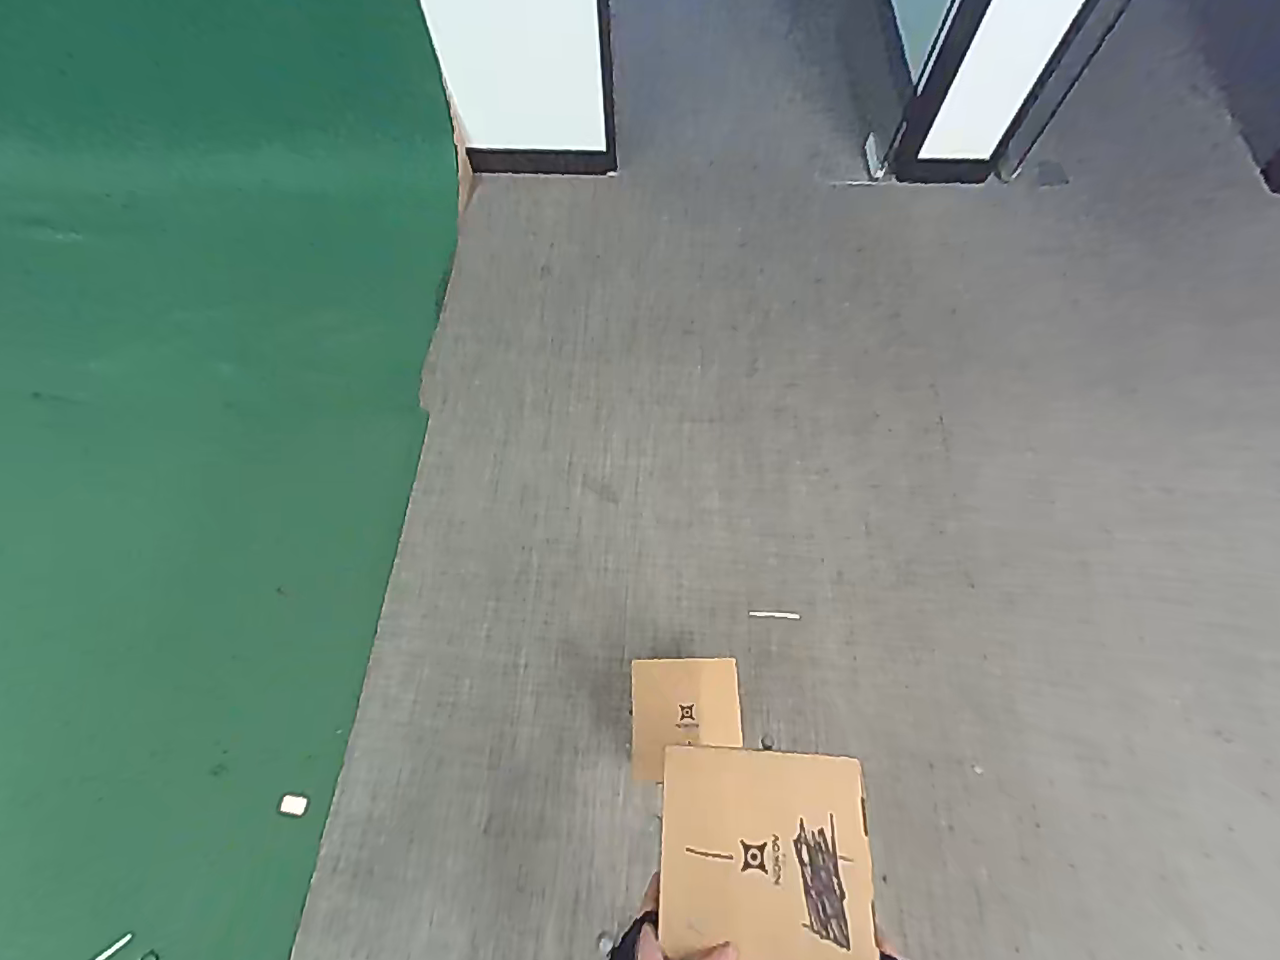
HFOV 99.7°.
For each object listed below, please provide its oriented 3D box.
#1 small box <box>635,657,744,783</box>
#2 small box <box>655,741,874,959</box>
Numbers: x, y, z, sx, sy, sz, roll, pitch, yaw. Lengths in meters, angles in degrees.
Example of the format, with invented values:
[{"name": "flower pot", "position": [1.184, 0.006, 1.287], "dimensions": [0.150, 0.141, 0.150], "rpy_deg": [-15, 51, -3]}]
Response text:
[{"name": "small box", "position": [0.075, 0.394, 0.894], "dimensions": [0.168, 0.176, 0.179], "rpy_deg": [-2, 67, 1]}, {"name": "small box", "position": [0.108, 0.354, 0.535], "dimensions": [0.179, 0.176, 0.168], "rpy_deg": [1, 64, 5]}]
